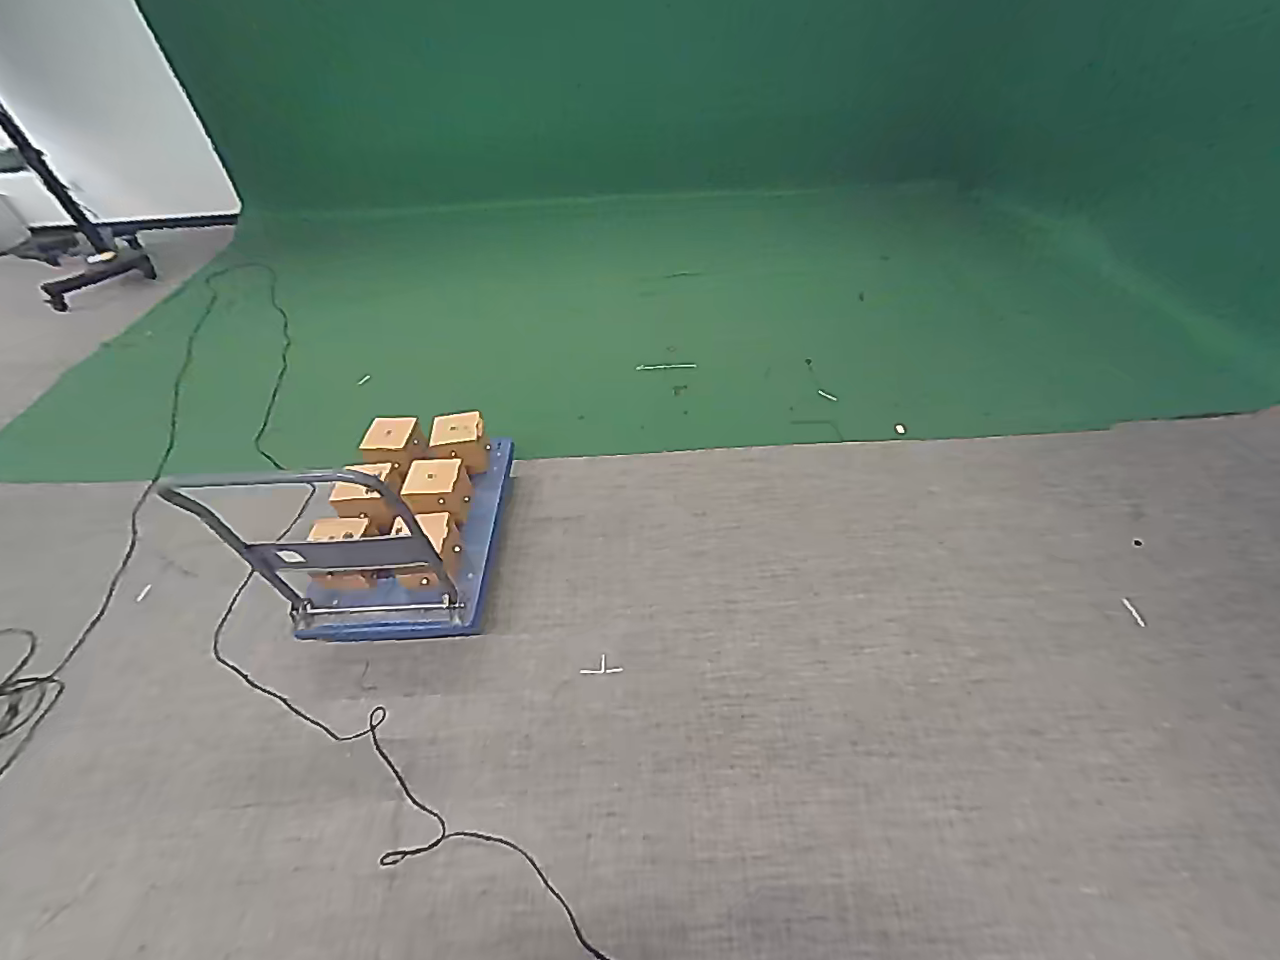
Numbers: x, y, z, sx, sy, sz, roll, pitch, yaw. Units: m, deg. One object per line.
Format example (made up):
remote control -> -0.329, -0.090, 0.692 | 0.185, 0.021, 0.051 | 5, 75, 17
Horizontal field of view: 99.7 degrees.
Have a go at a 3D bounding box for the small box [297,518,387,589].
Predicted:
small box -> -0.948, 0.238, 1.743 | 0.179, 0.176, 0.168 | -1, 46, 3

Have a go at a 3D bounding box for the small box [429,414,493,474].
small box -> -0.683, -0.134, 2.079 | 0.179, 0.176, 0.168 | -2, 49, 0

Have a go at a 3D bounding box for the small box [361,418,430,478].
small box -> -0.935, -0.120, 2.086 | 0.168, 0.176, 0.179 | 1, 47, 3

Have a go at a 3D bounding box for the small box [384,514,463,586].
small box -> -0.685, 0.226, 1.738 | 0.179, 0.176, 0.168 | -4, 46, -1
